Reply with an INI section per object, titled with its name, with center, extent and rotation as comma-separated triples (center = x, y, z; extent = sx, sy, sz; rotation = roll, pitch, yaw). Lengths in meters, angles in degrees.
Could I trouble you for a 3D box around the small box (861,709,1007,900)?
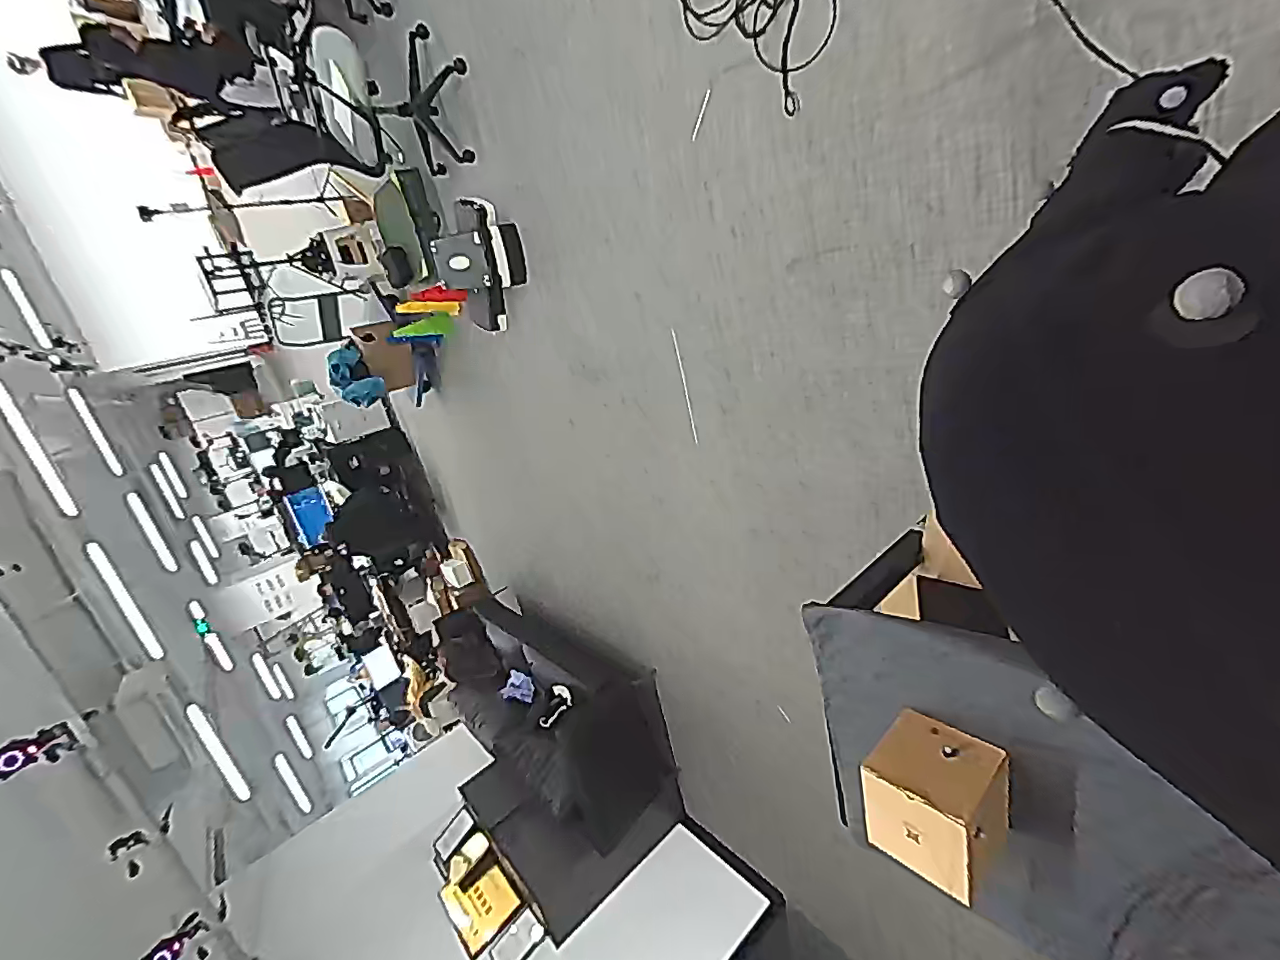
[small box]
center = 0.499, 0.533, 0.913
extent = 0.168, 0.176, 0.179
rotation = 10, 119, 50
